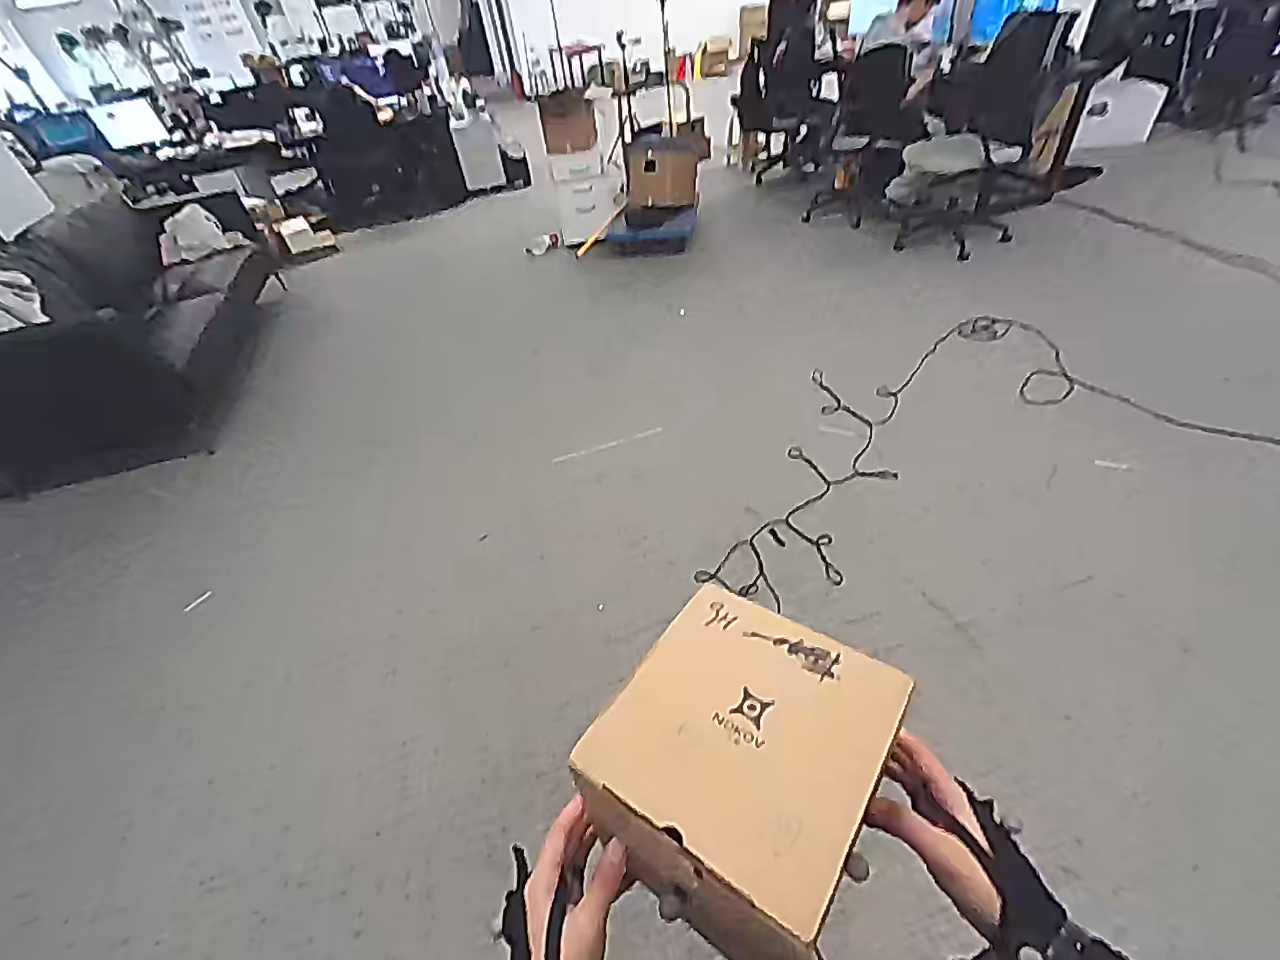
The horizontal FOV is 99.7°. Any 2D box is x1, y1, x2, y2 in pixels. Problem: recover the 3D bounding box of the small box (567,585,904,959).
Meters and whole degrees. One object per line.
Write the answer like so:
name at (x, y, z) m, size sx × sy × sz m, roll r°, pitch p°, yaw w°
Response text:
small box at (0.076, 0.221, 0.409) m, size 0.168 × 0.176 × 0.179 m, roll 21°, pitch 47°, yaw 32°
